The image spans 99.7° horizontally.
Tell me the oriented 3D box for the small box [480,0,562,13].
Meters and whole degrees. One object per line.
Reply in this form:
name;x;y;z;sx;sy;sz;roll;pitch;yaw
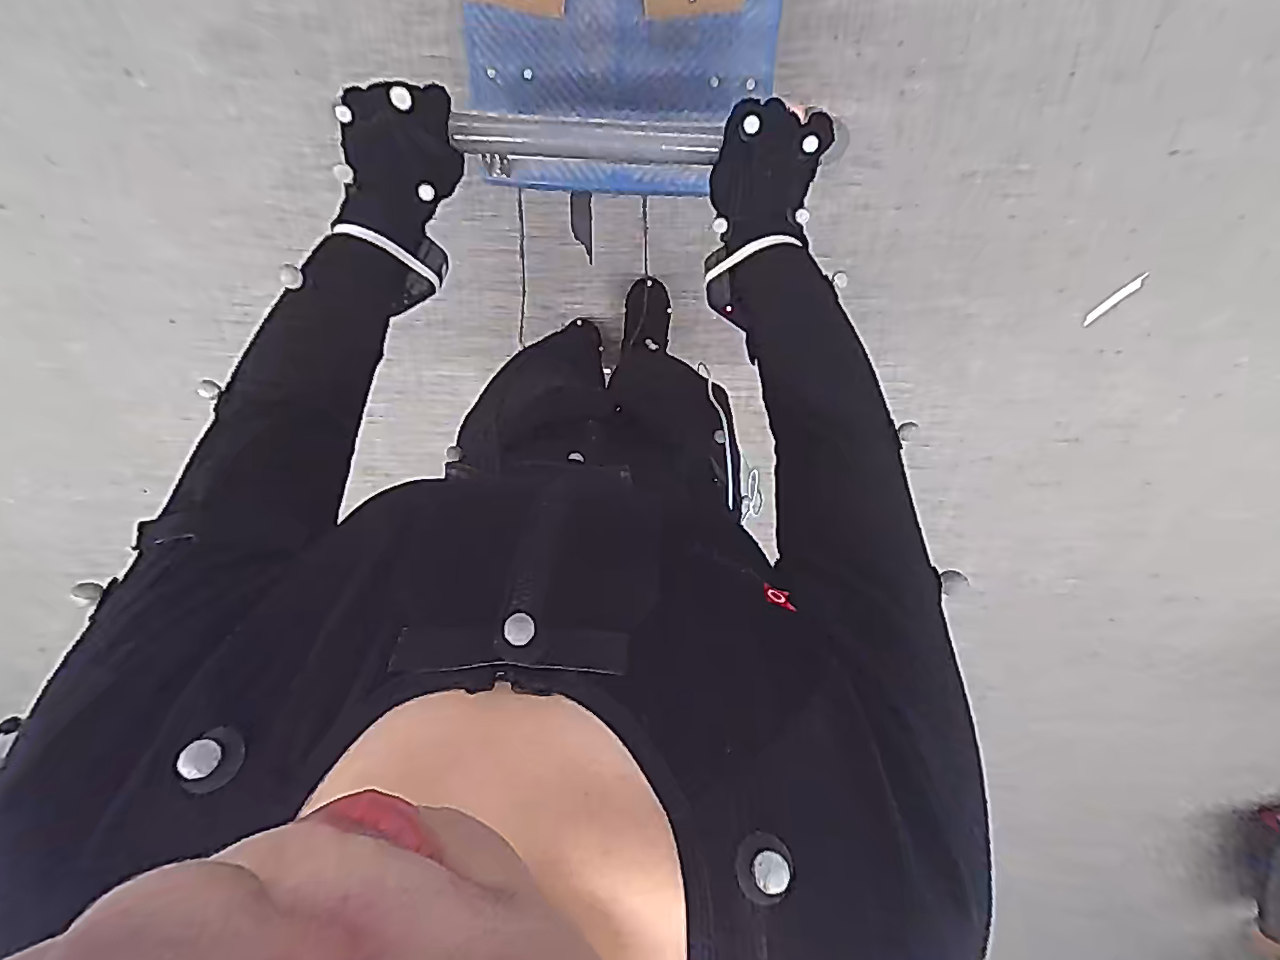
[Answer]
small box;-0.217;-0.889;0.864;0.179;0.176;0.168;8;114;-4

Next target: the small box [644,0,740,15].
small box;0.087;-0.876;0.862;0.179;0.176;0.168;-2;114;3
